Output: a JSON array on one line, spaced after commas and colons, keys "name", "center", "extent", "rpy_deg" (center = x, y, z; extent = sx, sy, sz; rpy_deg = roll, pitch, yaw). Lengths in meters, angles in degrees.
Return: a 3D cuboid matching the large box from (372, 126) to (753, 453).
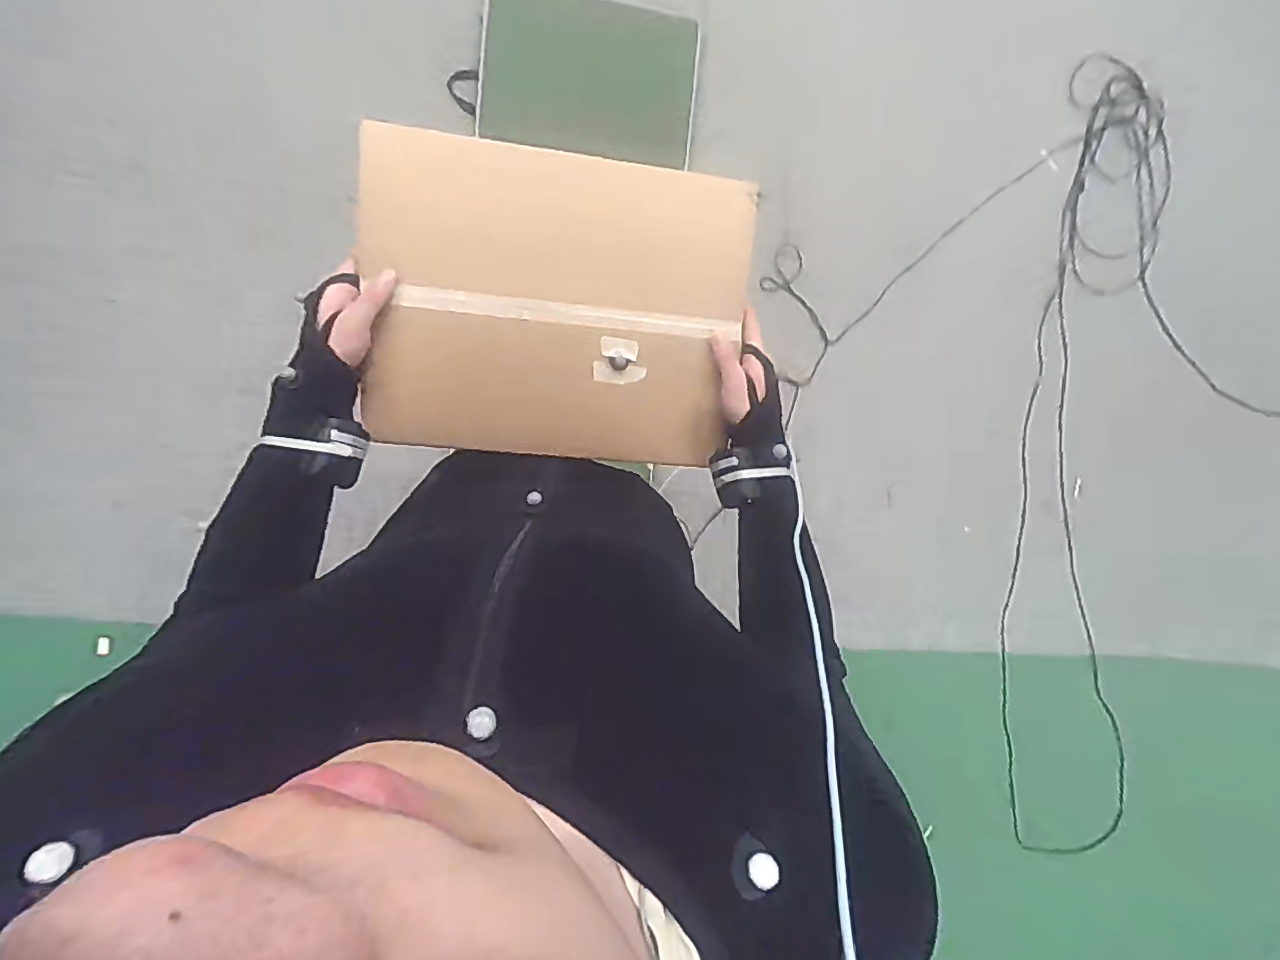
[{"name": "large box", "center": [-0.106, -0.219, 0.735], "extent": [0.408, 0.320, 0.320], "rpy_deg": [4, 101, -10]}]
